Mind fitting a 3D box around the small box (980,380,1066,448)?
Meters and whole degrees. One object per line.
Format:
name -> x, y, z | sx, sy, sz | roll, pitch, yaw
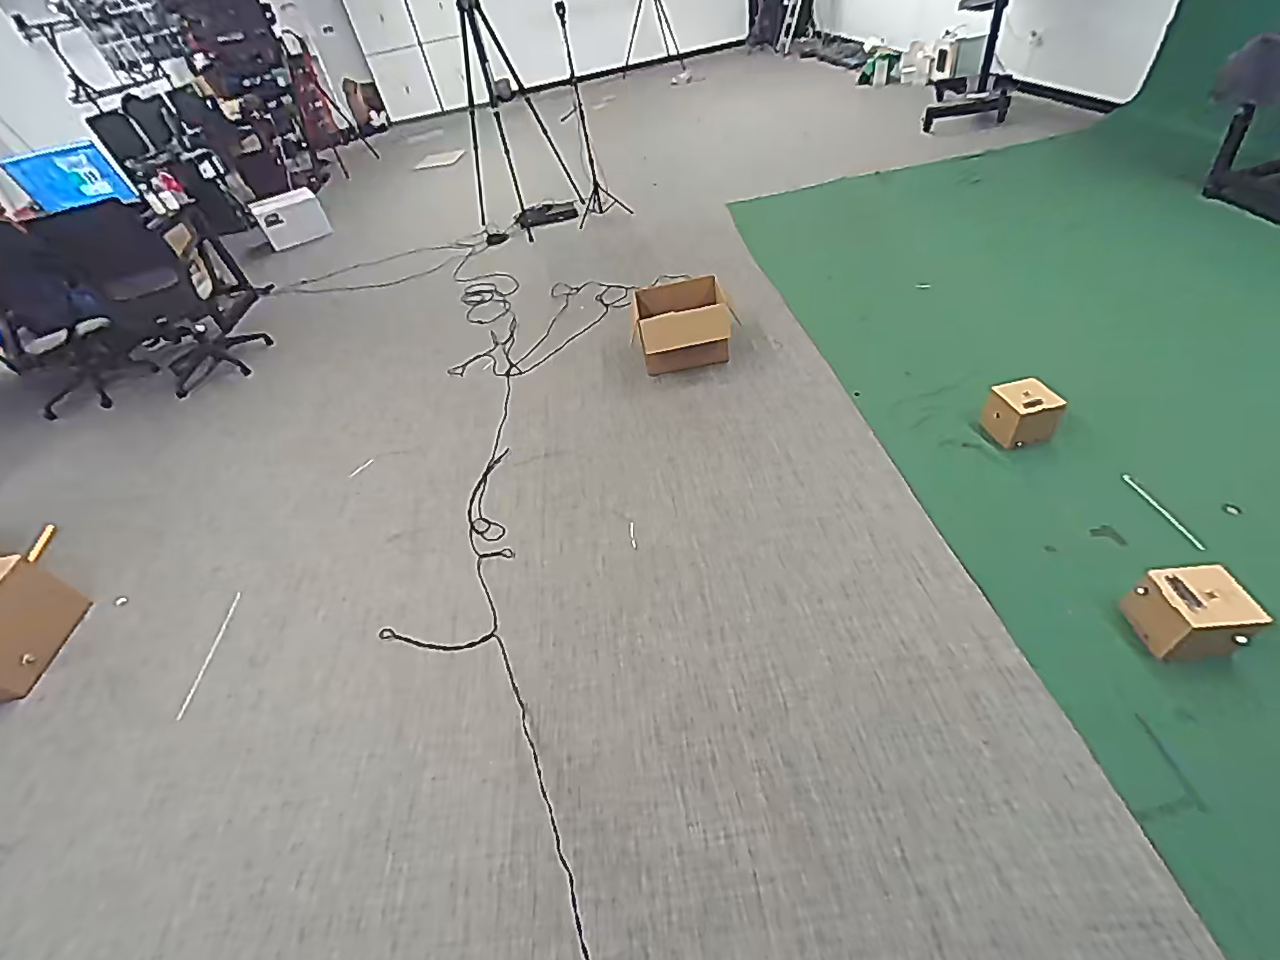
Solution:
small box -> 1.375, -0.232, 1.955 | 0.168, 0.176, 0.179 | -13, 43, 0
